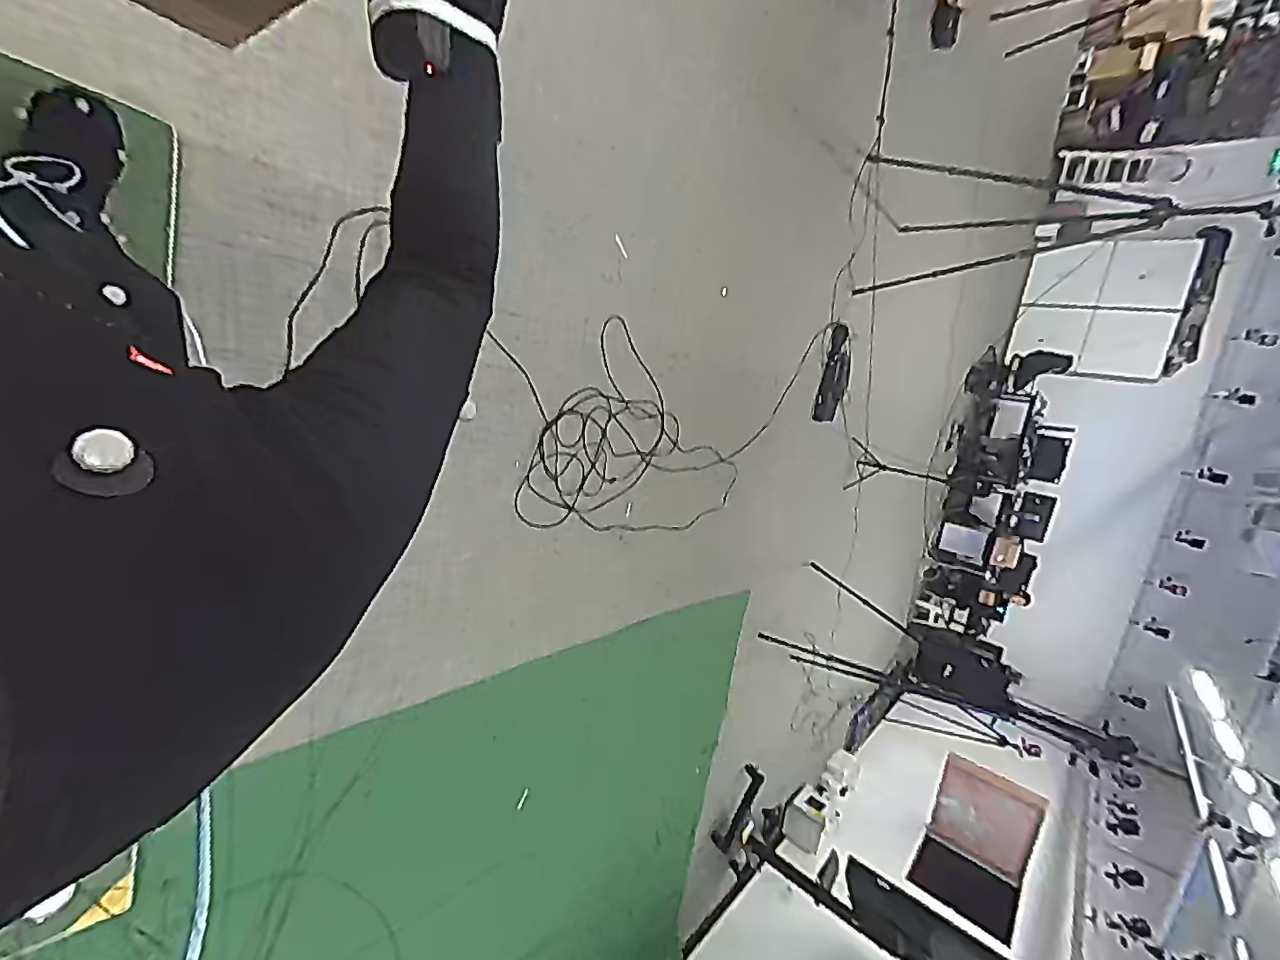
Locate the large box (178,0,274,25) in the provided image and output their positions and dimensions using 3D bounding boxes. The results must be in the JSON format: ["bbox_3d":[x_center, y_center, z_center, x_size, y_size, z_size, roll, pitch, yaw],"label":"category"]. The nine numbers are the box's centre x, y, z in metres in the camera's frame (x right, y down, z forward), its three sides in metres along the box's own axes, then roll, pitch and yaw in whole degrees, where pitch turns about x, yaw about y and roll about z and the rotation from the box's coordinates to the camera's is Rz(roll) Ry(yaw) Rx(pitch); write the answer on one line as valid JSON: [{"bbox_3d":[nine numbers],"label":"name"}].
[{"bbox_3d":[-0.371,-0.523,0.246,0.408,0.320,0.320,0,110,-50],"label":"large box"}]
